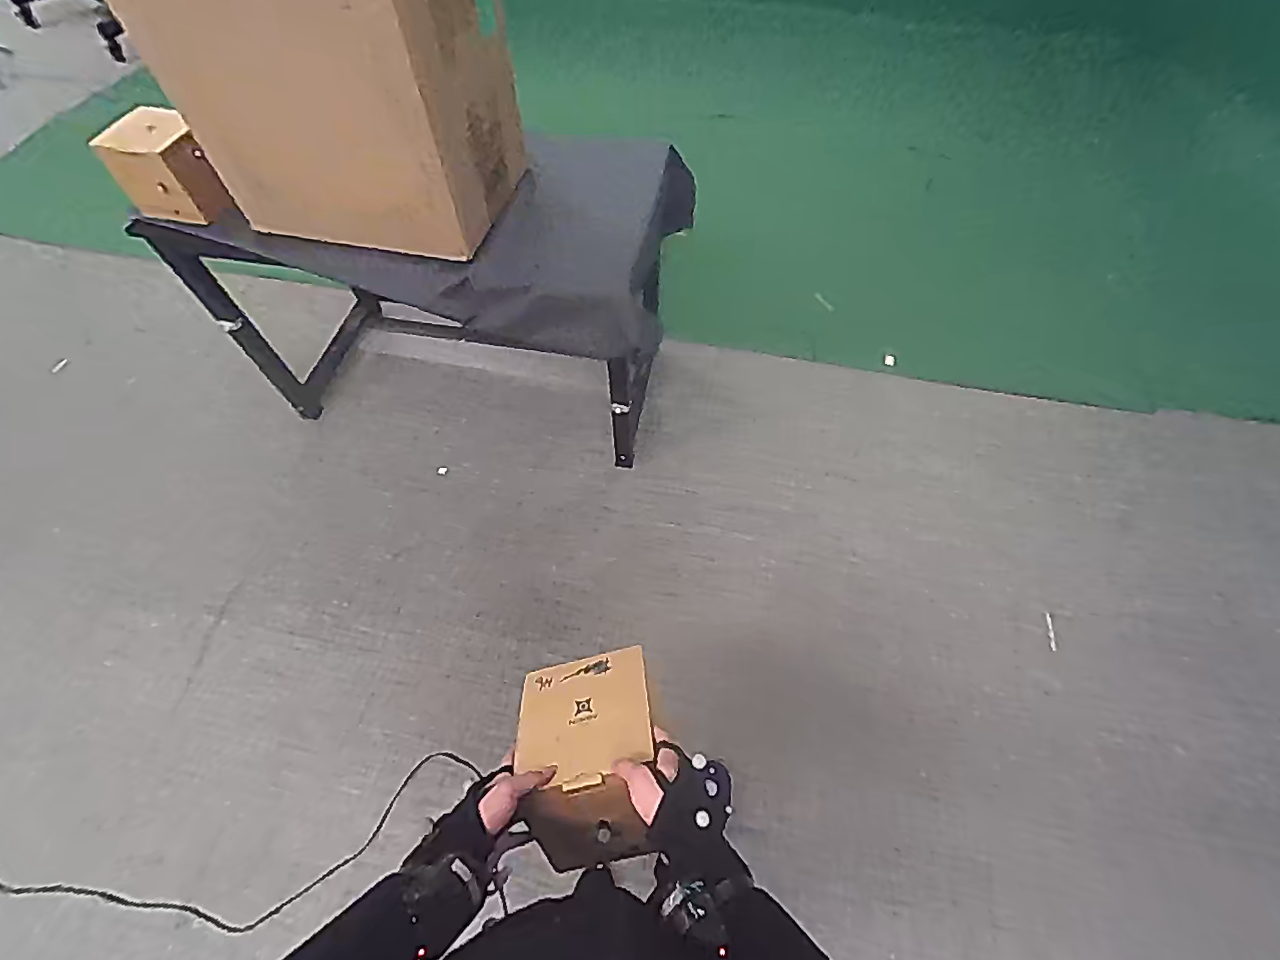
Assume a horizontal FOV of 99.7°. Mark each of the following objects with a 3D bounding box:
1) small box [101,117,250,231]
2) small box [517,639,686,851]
[{"bbox_3d":[-1.075,-0.716,1.273,0.168,0.176,0.179,10,57,4],"label":"small box"},{"bbox_3d":[-0.046,0.345,0.701,0.168,0.176,0.179,-15,29,2],"label":"small box"}]
